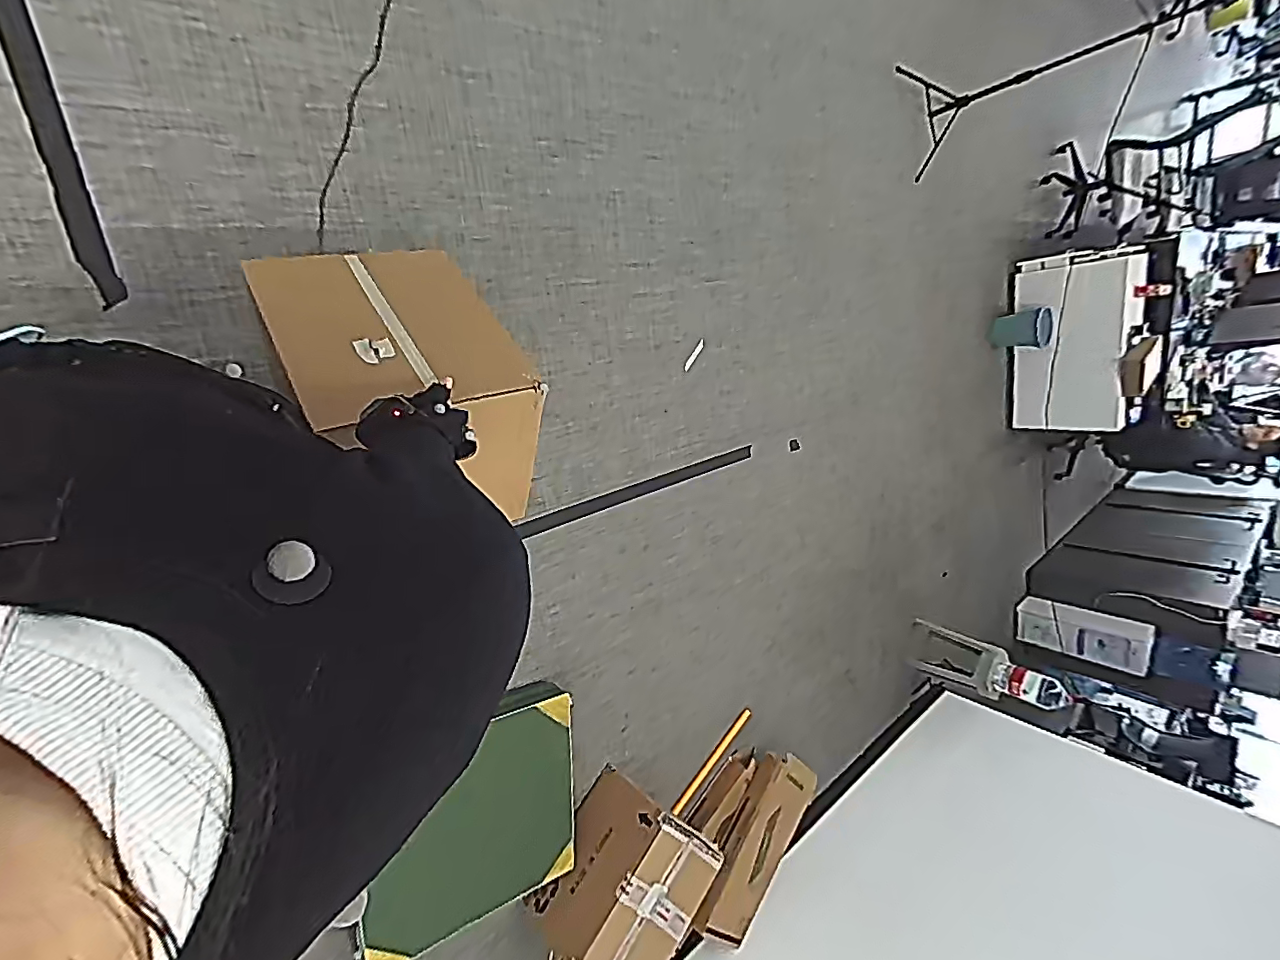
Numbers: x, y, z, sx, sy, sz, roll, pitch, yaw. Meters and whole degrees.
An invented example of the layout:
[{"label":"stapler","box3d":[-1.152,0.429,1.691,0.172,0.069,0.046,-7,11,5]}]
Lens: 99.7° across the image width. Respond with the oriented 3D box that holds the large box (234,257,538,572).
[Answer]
[{"label":"large box","box3d":[-0.420,-0.127,0.912,0.320,0.408,0.320,-20,148,-32]}]
